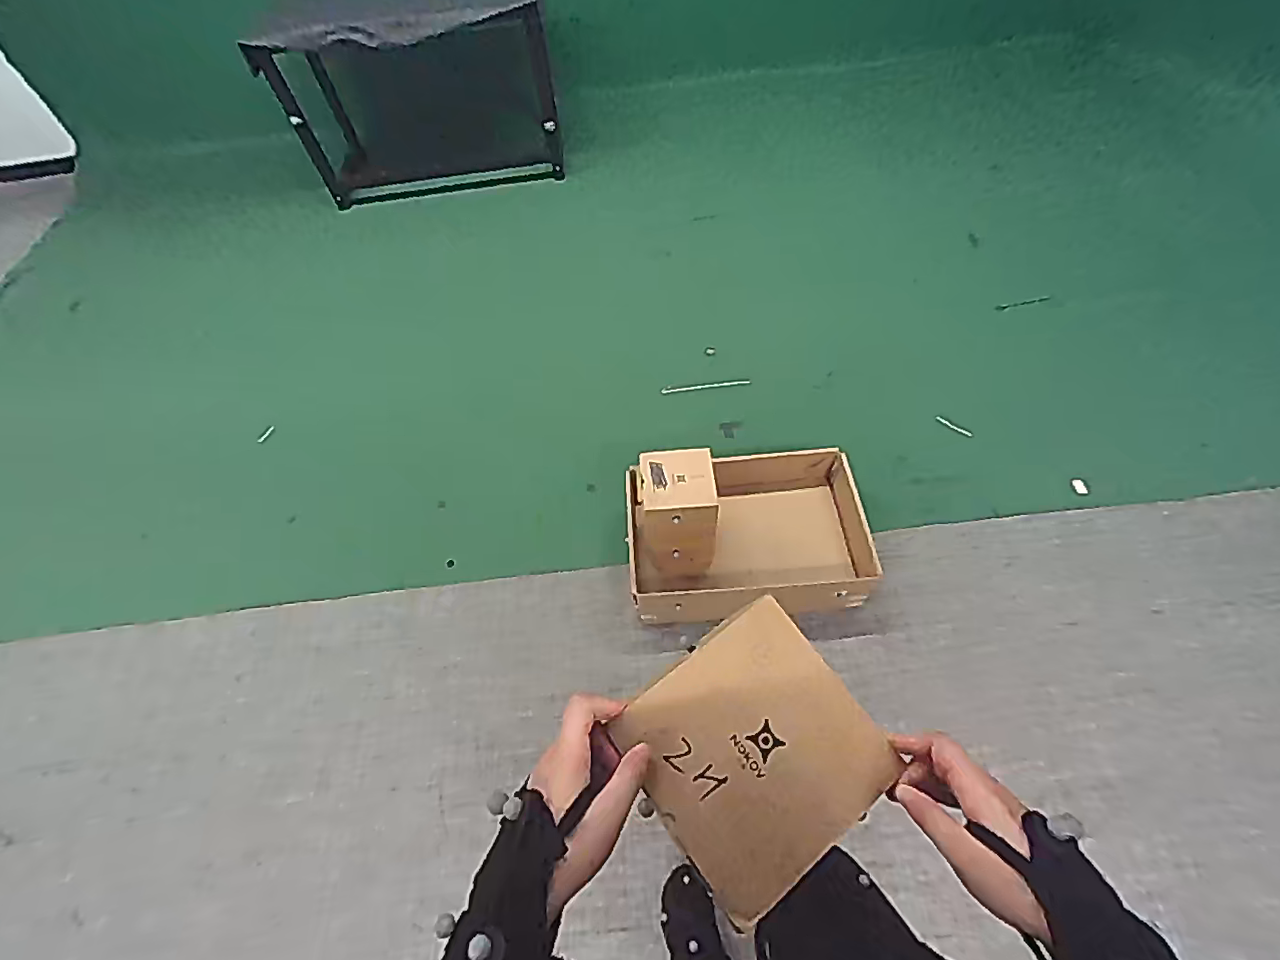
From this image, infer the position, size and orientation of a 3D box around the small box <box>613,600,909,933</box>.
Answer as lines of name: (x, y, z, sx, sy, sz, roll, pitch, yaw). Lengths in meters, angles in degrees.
small box: (0.087, 0.234, 0.487, 0.179, 0.176, 0.168, -34, 75, -15)

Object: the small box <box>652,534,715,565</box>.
small box: (0.114, 0.125, 1.484, 0.168, 0.176, 0.179, -6, 58, 1)

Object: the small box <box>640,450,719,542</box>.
small box: (0.097, 0.046, 1.341, 0.179, 0.176, 0.168, -5, 58, 1)
